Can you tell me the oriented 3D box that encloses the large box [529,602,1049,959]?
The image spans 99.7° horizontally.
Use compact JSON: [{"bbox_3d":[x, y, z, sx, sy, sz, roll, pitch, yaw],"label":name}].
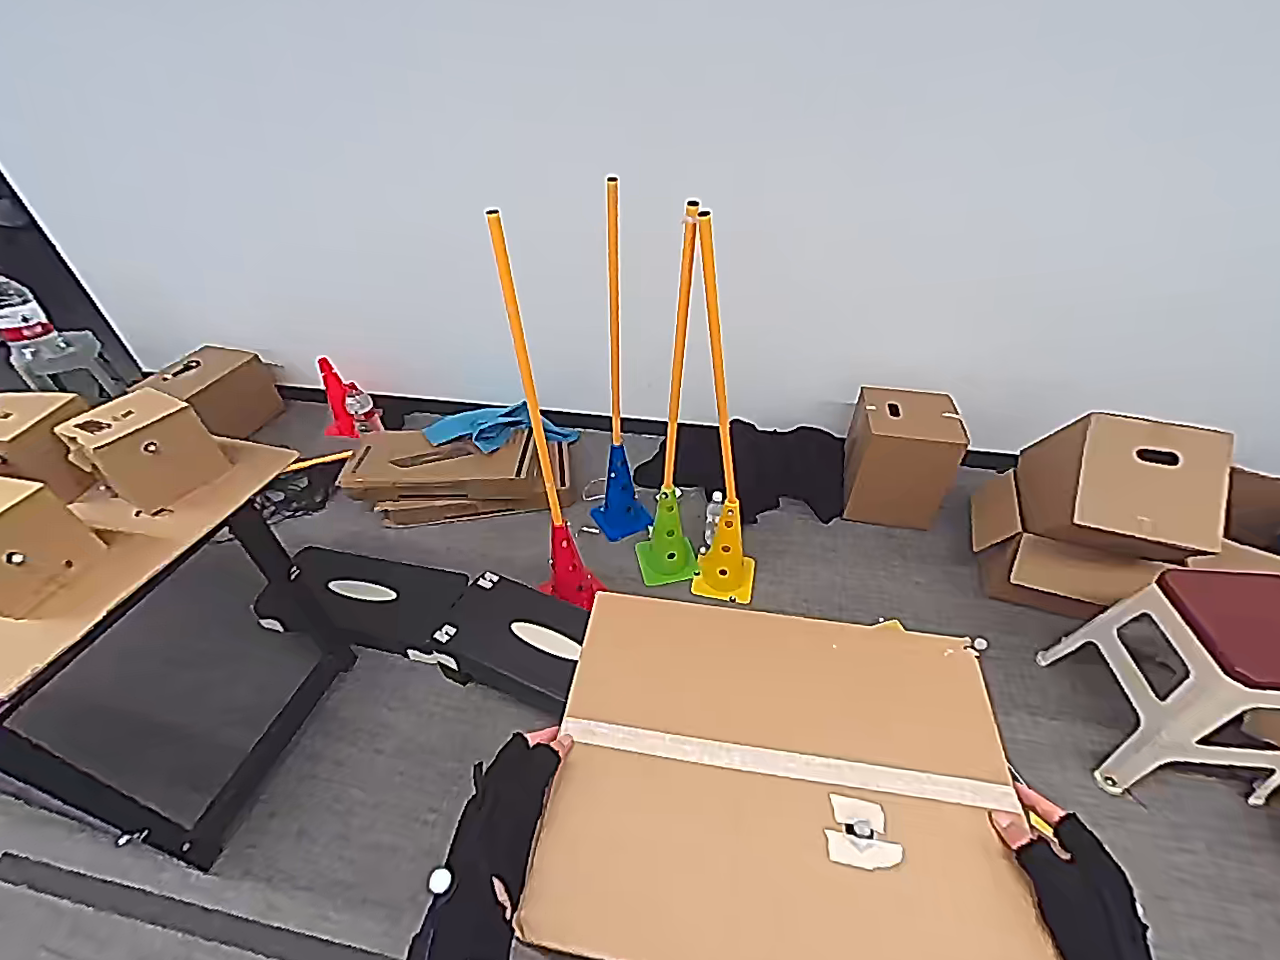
[{"bbox_3d":[0.131,0.372,0.609,0.408,0.320,0.320,6,46,8],"label":"large box"}]
